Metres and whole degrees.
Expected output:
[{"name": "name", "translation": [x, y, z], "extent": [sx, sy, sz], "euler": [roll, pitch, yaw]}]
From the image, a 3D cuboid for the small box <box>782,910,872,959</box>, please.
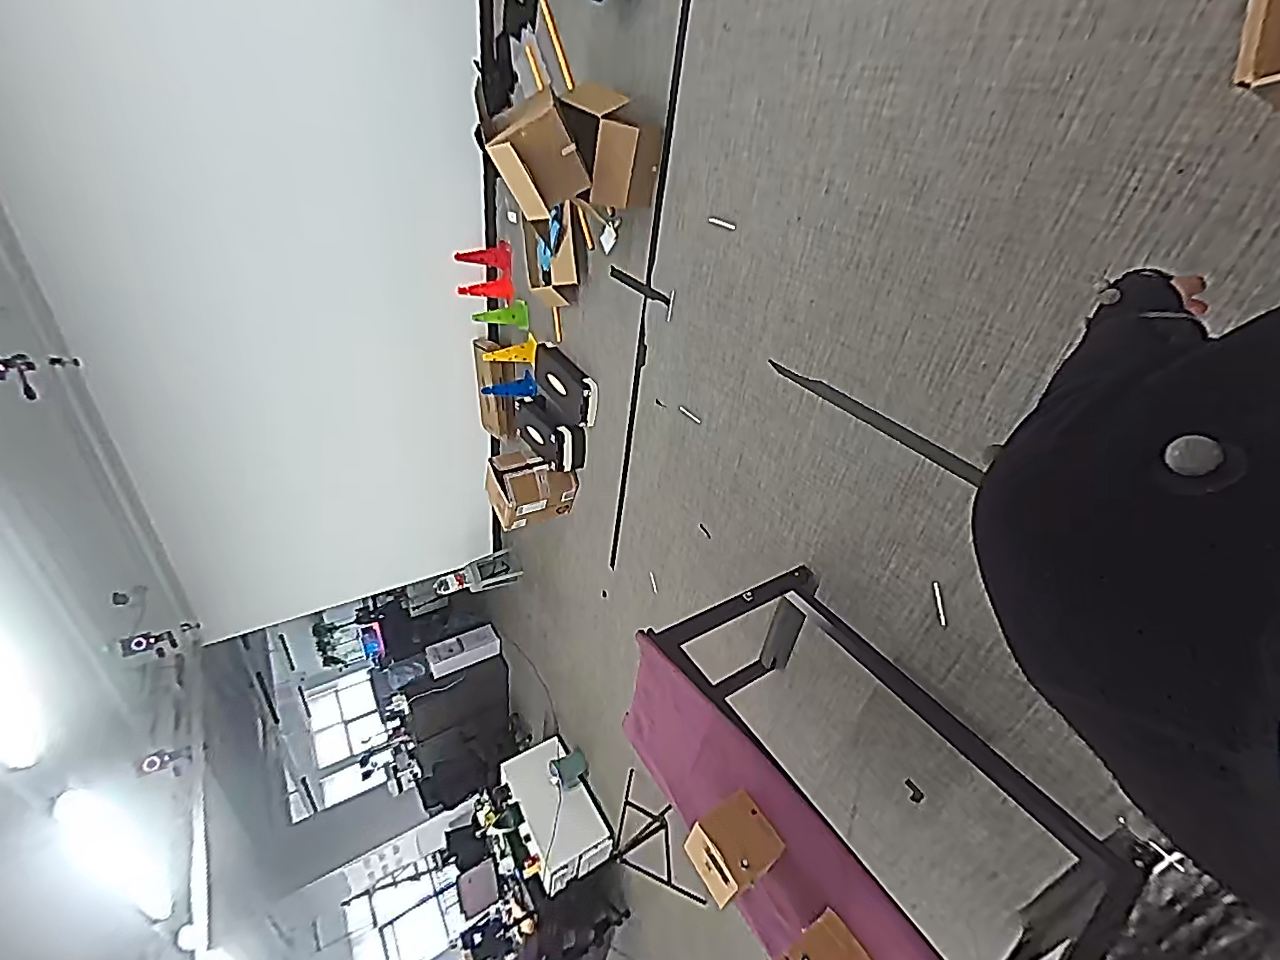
[{"name": "small box", "translation": [0.425, 1.124, 1.204], "extent": [0.179, 0.176, 0.168], "euler": [41, 135, 44]}]
